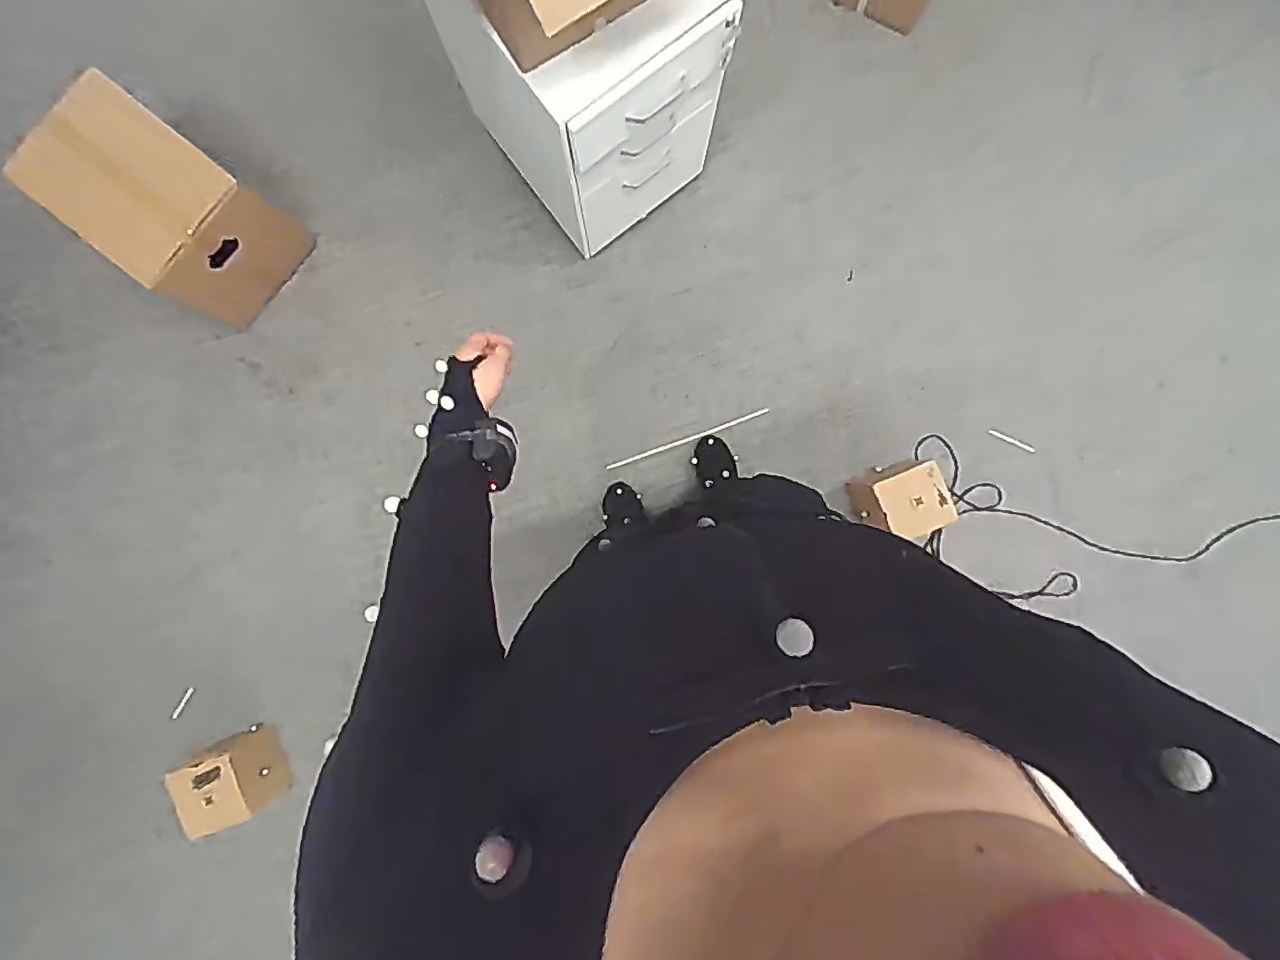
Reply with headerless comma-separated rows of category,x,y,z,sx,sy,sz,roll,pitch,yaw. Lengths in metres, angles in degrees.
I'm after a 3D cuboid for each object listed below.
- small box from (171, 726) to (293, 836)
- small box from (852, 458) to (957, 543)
small box,-1.053,0.771,1.409,0.168,0.176,0.179,-18,90,-1
small box,0.680,0.052,1.421,0.179,0.176,0.168,-22,90,0
